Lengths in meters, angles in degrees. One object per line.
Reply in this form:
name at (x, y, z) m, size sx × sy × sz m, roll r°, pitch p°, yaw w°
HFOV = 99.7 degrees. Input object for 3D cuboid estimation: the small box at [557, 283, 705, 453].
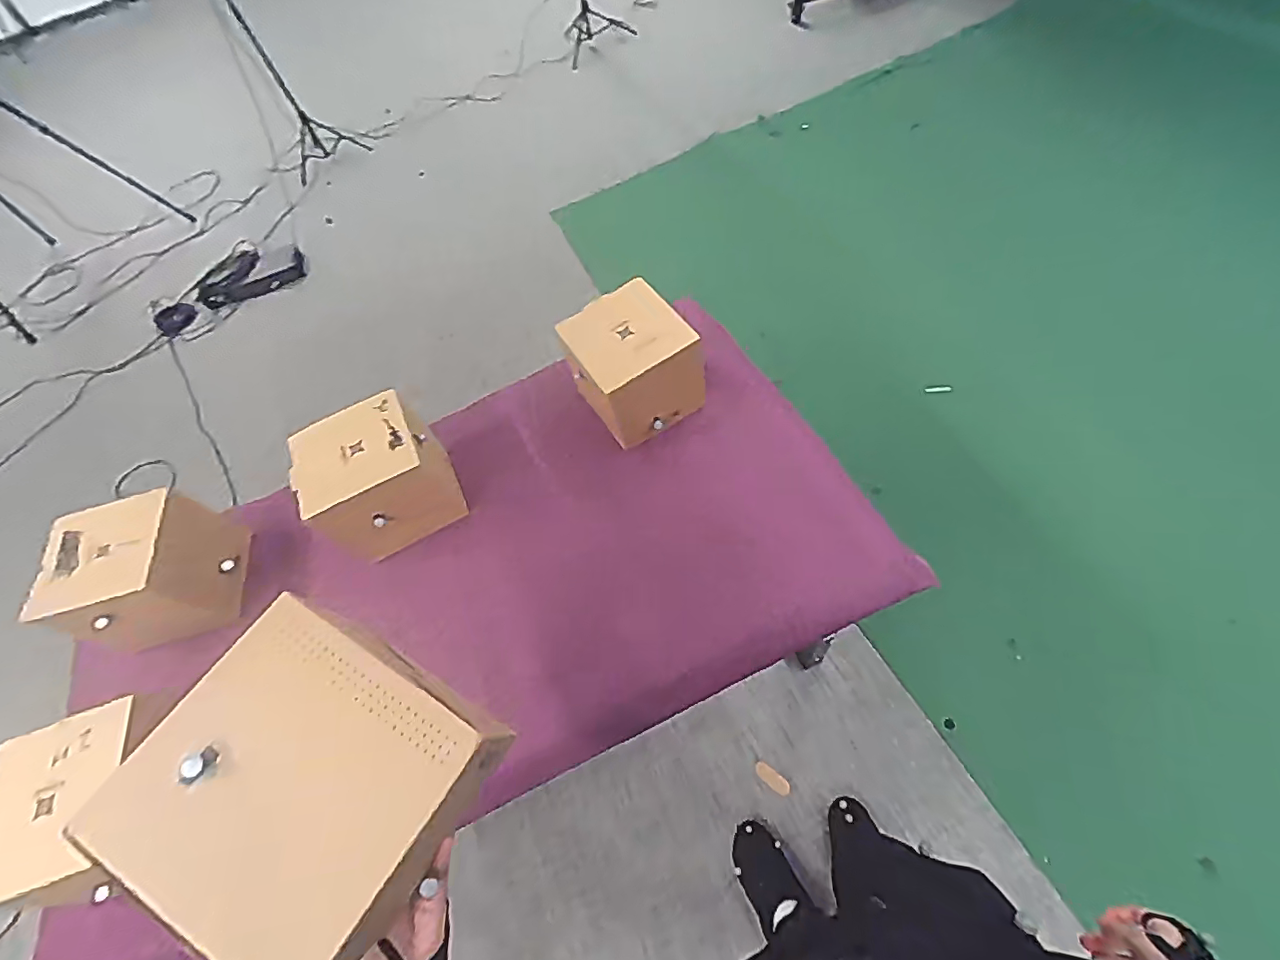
small box at (-0.009, -0.178, 0.884) m, size 0.168 × 0.176 × 0.179 m, roll -32°, pitch 60°, yaw -7°

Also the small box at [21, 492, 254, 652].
small box at (-0.741, 0.147, 0.822) m, size 0.179 × 0.176 × 0.168 m, roll -16°, pitch 59°, yaw -1°

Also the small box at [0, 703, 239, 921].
small box at (-0.627, 0.394, 0.653) m, size 0.168 × 0.176 × 0.179 m, roll -20°, pitch 58°, yaw -3°

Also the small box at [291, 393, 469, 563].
small box at (-0.400, 0.004, 0.847) m, size 0.179 × 0.176 × 0.168 m, roll -28°, pitch 60°, yaw -6°
